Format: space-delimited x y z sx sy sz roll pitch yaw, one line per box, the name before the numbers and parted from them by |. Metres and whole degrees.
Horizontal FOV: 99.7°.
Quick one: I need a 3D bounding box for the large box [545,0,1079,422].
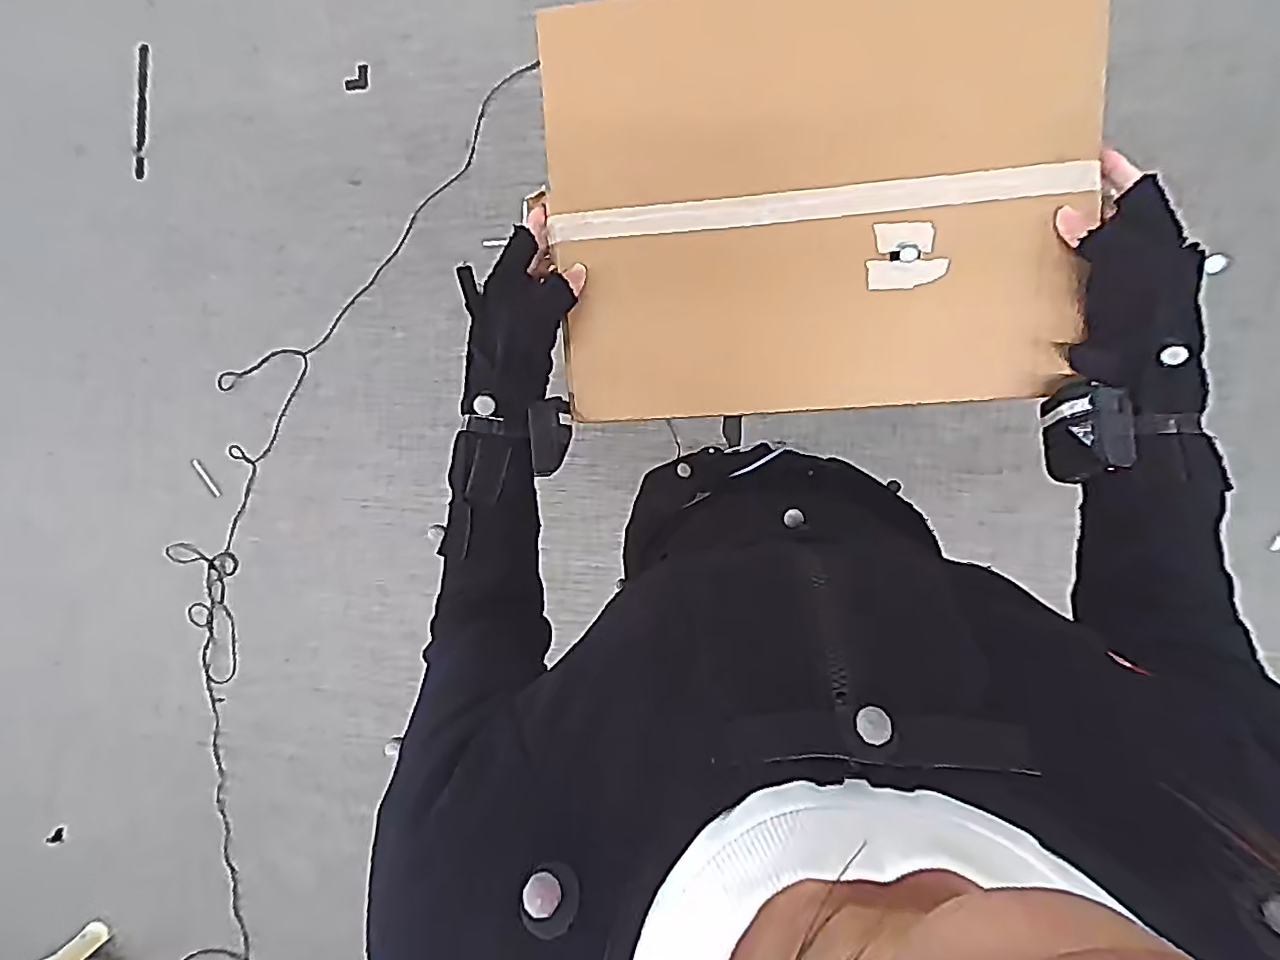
large box | 0.143 -0.237 0.577 0.408 0.320 0.320 -3 99 5
